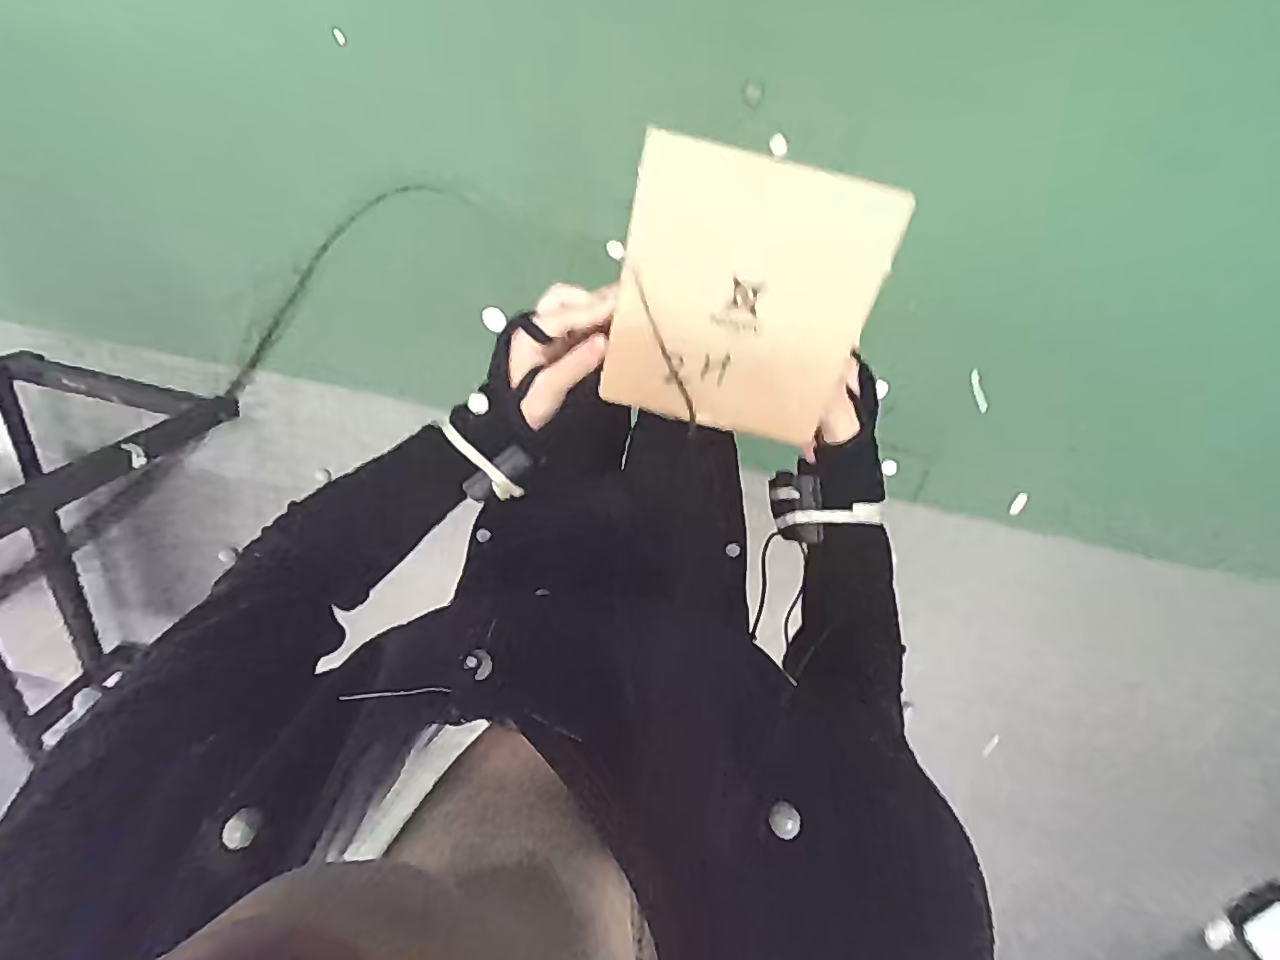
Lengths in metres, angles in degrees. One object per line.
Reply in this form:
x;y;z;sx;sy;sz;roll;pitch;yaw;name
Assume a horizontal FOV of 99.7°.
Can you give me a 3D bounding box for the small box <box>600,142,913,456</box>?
0.073;-0.149;0.429;0.168;0.176;0.179;13;123;-2;small box
